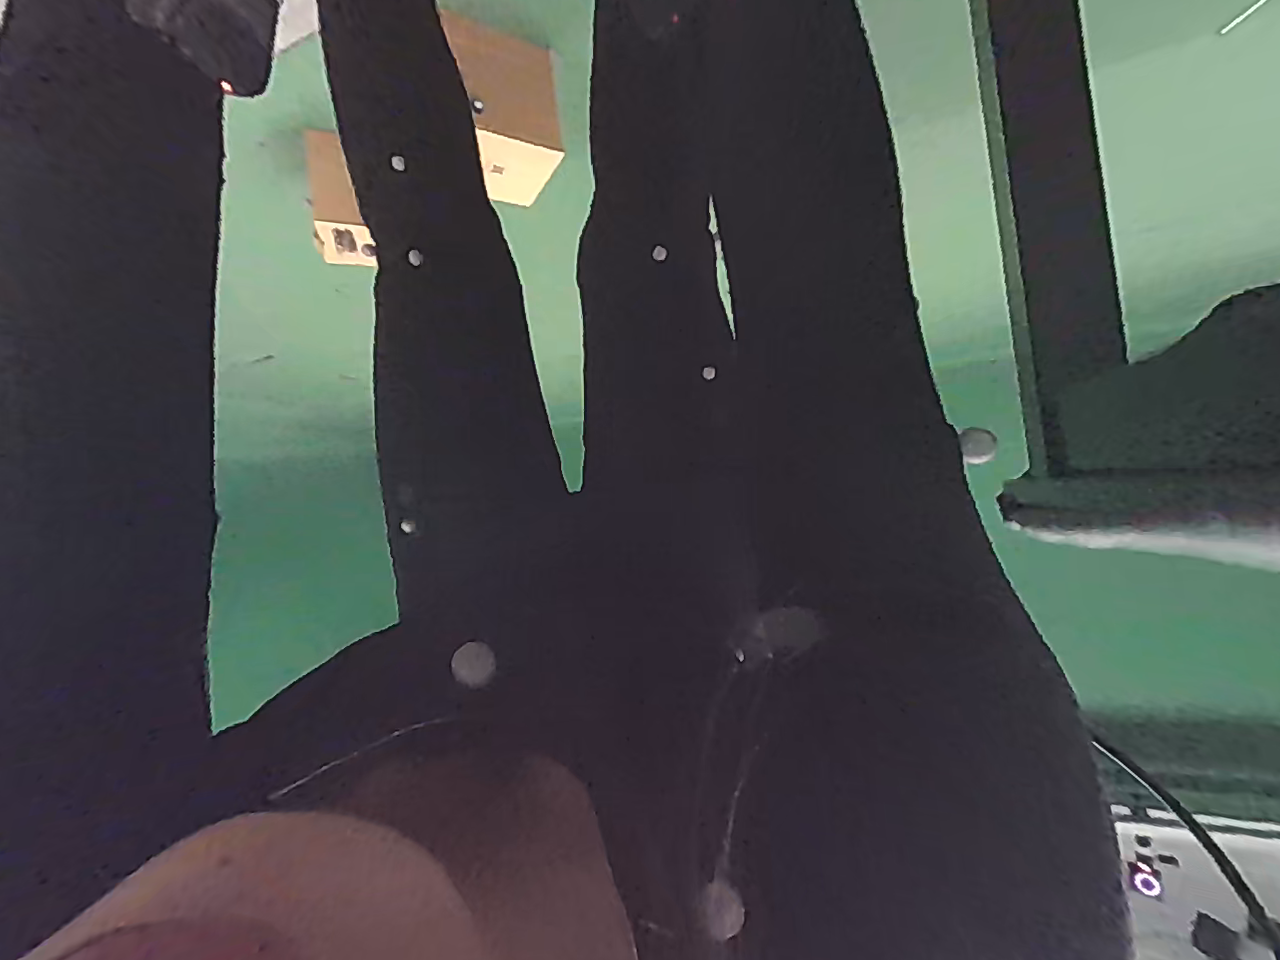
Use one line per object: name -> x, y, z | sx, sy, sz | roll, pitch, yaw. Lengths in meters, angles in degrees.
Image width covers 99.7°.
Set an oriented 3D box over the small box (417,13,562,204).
small box -> -0.241, -0.572, 0.851 | 0.179, 0.176, 0.168 | -4, 178, -32
